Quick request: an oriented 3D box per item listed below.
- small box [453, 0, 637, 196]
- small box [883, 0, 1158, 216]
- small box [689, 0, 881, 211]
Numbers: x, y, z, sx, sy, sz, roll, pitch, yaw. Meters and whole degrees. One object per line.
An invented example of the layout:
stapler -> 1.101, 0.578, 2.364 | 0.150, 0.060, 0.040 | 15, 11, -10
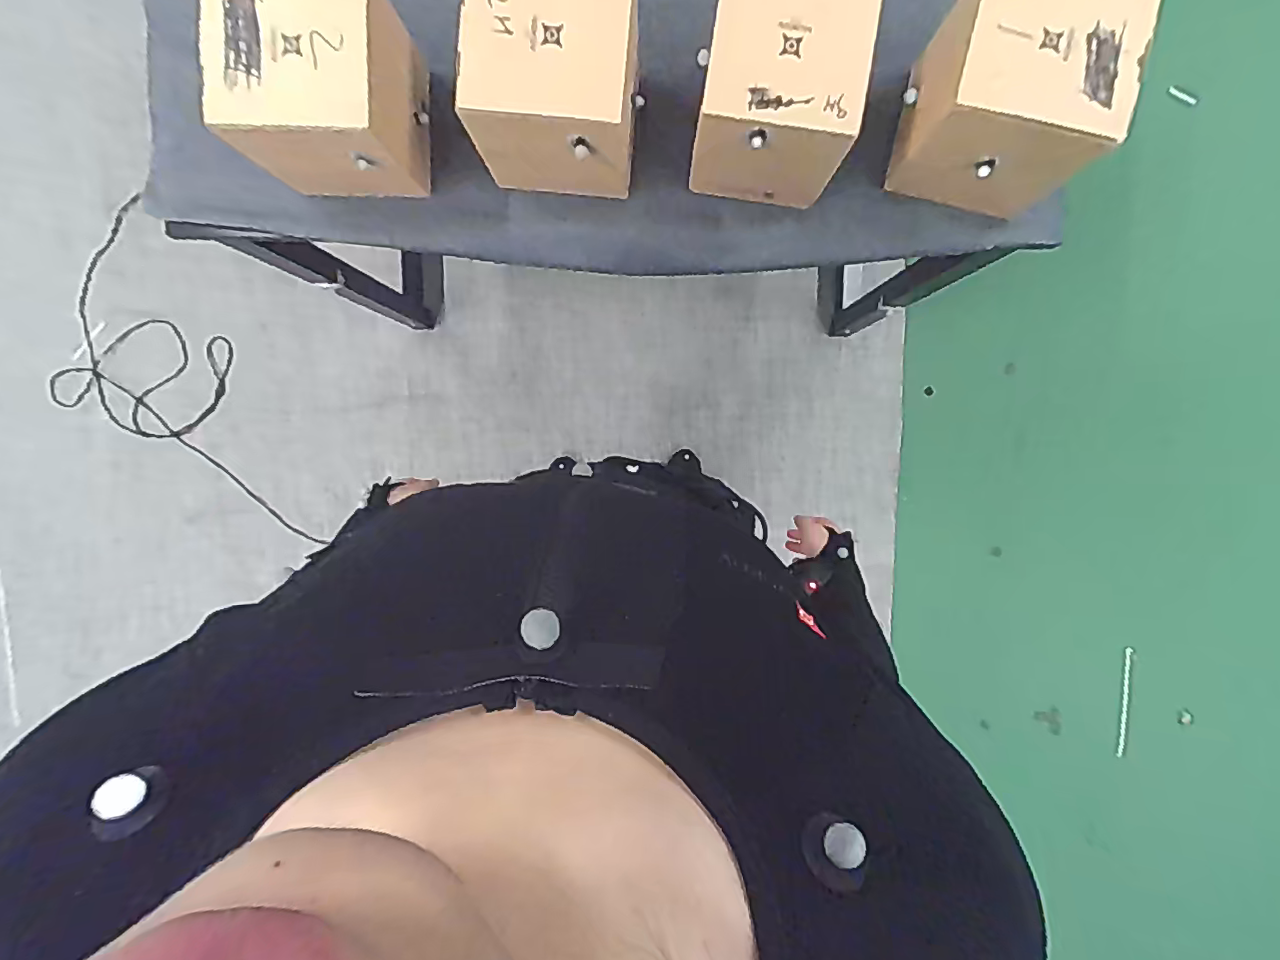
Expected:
small box -> -0.097, -0.455, 0.631 | 0.179, 0.176, 0.168 | 6, 93, 2
small box -> 0.415, -0.432, 0.619 | 0.179, 0.176, 0.168 | 14, 91, 1
small box -> 0.154, -0.448, 0.627 | 0.168, 0.176, 0.179 | 10, 92, 0
